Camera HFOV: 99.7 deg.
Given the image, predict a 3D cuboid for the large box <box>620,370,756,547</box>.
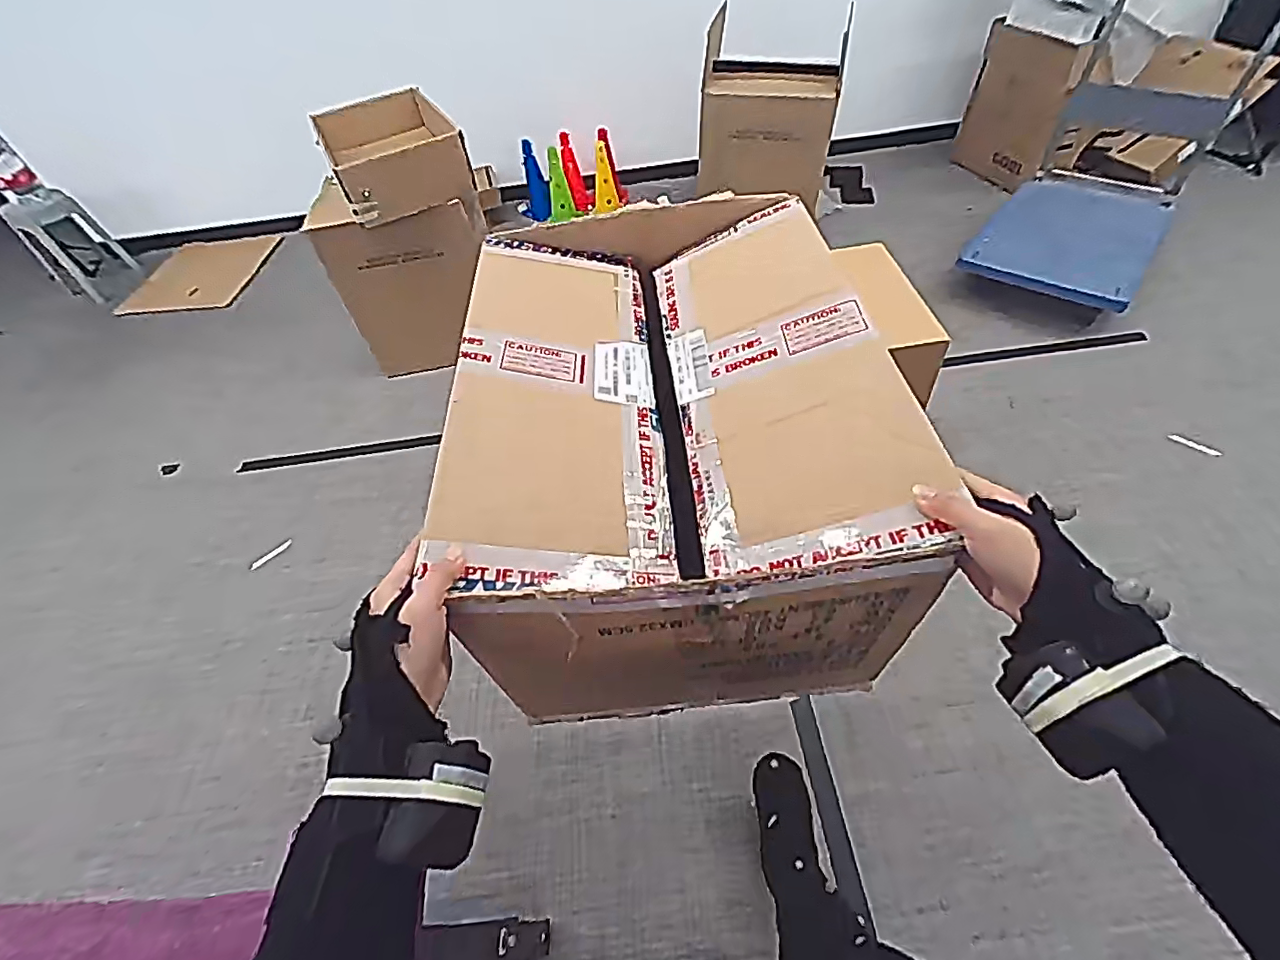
[{"bbox_3d":[0.130,-0.064,1.607,0.320,0.320,0.408,-9,51,0],"label":"large box"}]
